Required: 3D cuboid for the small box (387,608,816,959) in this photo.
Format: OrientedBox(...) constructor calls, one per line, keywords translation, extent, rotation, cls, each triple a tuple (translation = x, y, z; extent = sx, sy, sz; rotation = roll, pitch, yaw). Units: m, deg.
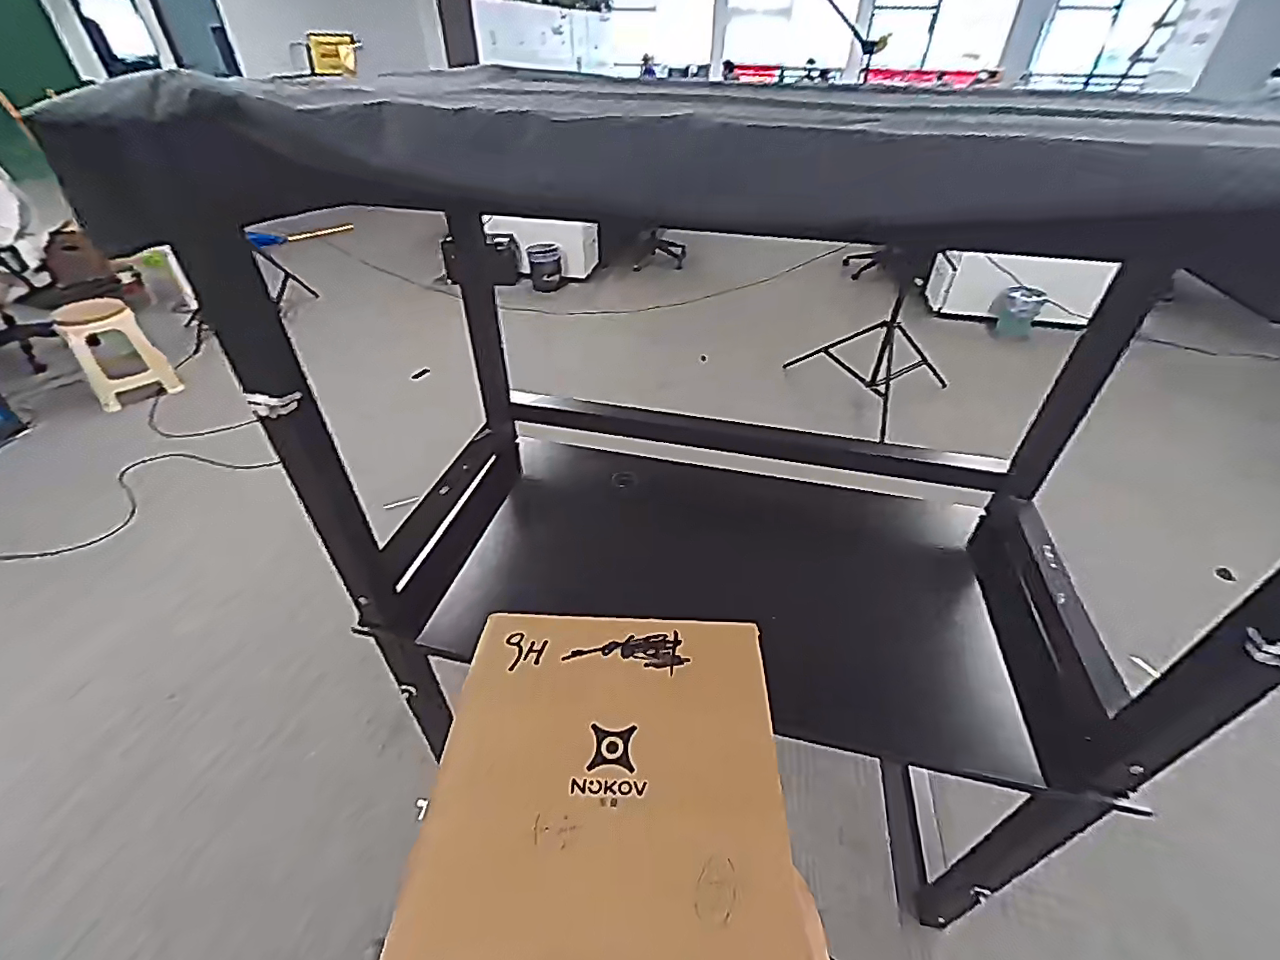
OrientedBox(translation=(-0.012, 0.197, 0.308), extent=(0.168, 0.176, 0.179), rotation=(3, 40, 1), cls="small box")
